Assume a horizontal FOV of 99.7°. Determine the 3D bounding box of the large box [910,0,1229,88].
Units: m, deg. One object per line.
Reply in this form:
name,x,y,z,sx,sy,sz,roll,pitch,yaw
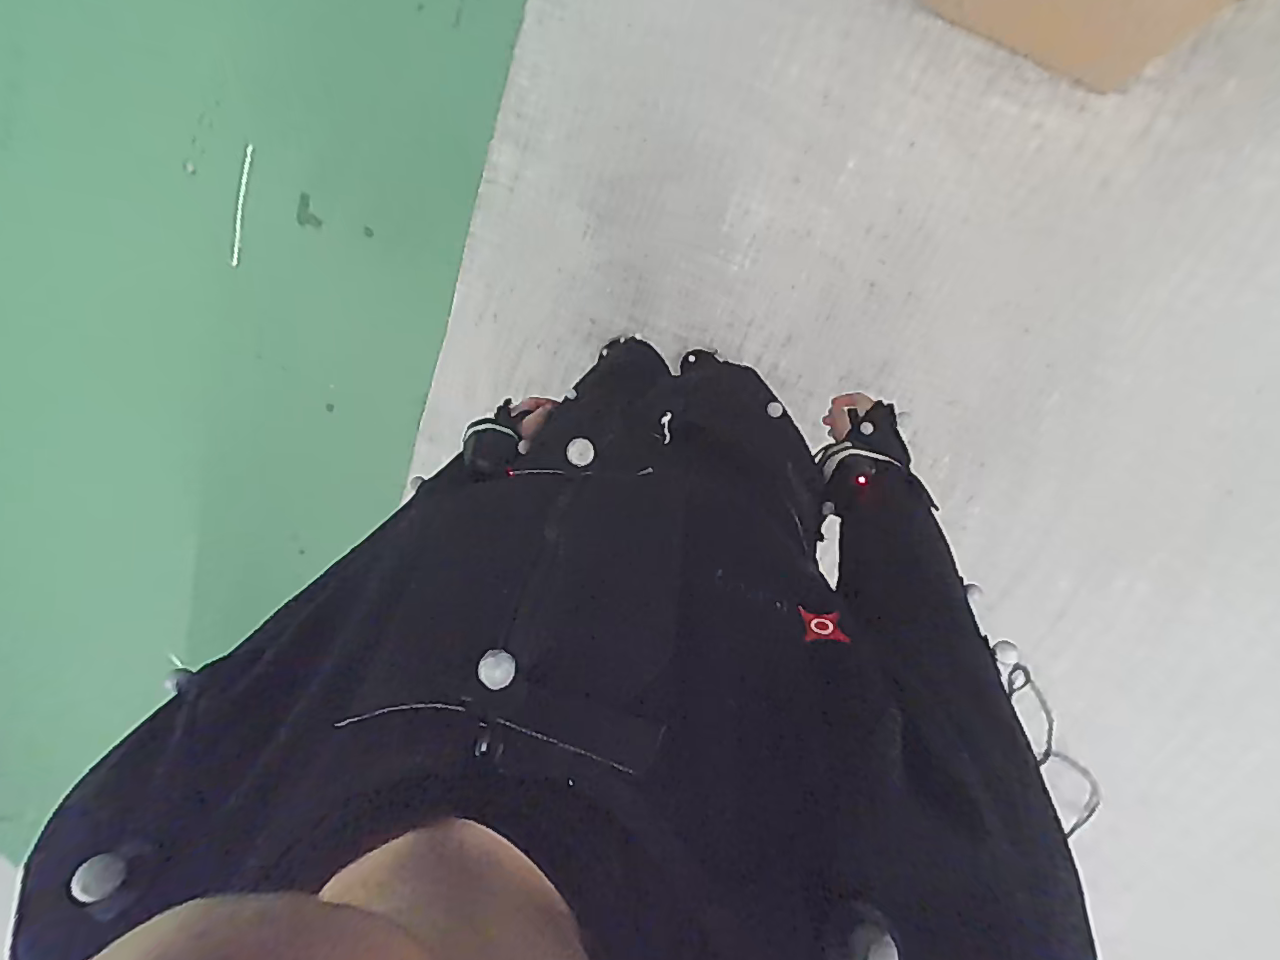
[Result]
large box,0.710,-0.896,0.820,0.408,0.320,0.320,28,110,3
